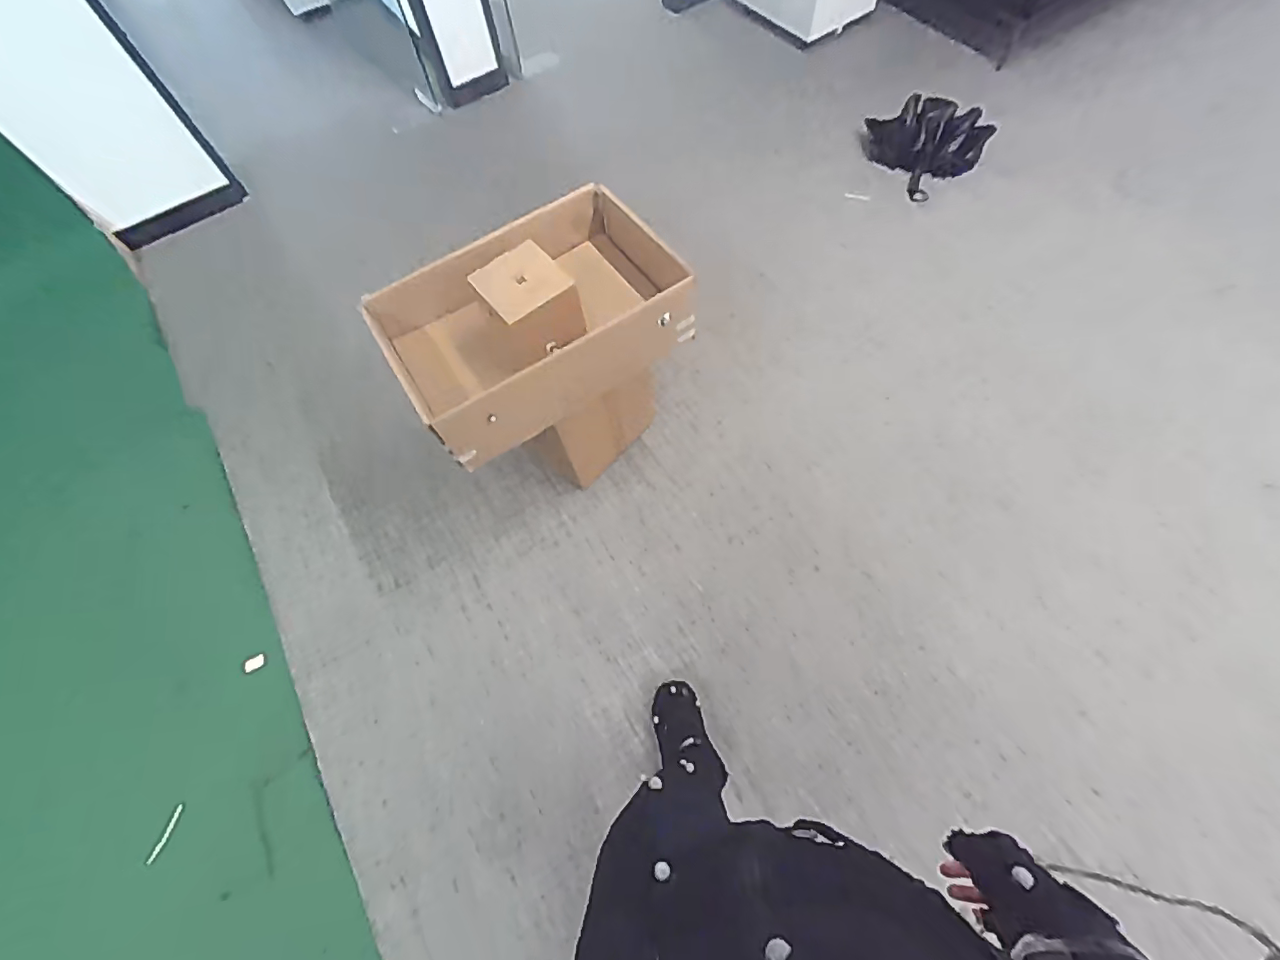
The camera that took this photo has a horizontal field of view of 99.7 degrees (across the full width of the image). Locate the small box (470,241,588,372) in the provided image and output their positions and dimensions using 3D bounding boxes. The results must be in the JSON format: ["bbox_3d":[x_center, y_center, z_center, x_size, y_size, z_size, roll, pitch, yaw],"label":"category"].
[{"bbox_3d":[-0.234,-0.372,1.176,0.168,0.176,0.179,-37,67,-12],"label":"small box"}]
